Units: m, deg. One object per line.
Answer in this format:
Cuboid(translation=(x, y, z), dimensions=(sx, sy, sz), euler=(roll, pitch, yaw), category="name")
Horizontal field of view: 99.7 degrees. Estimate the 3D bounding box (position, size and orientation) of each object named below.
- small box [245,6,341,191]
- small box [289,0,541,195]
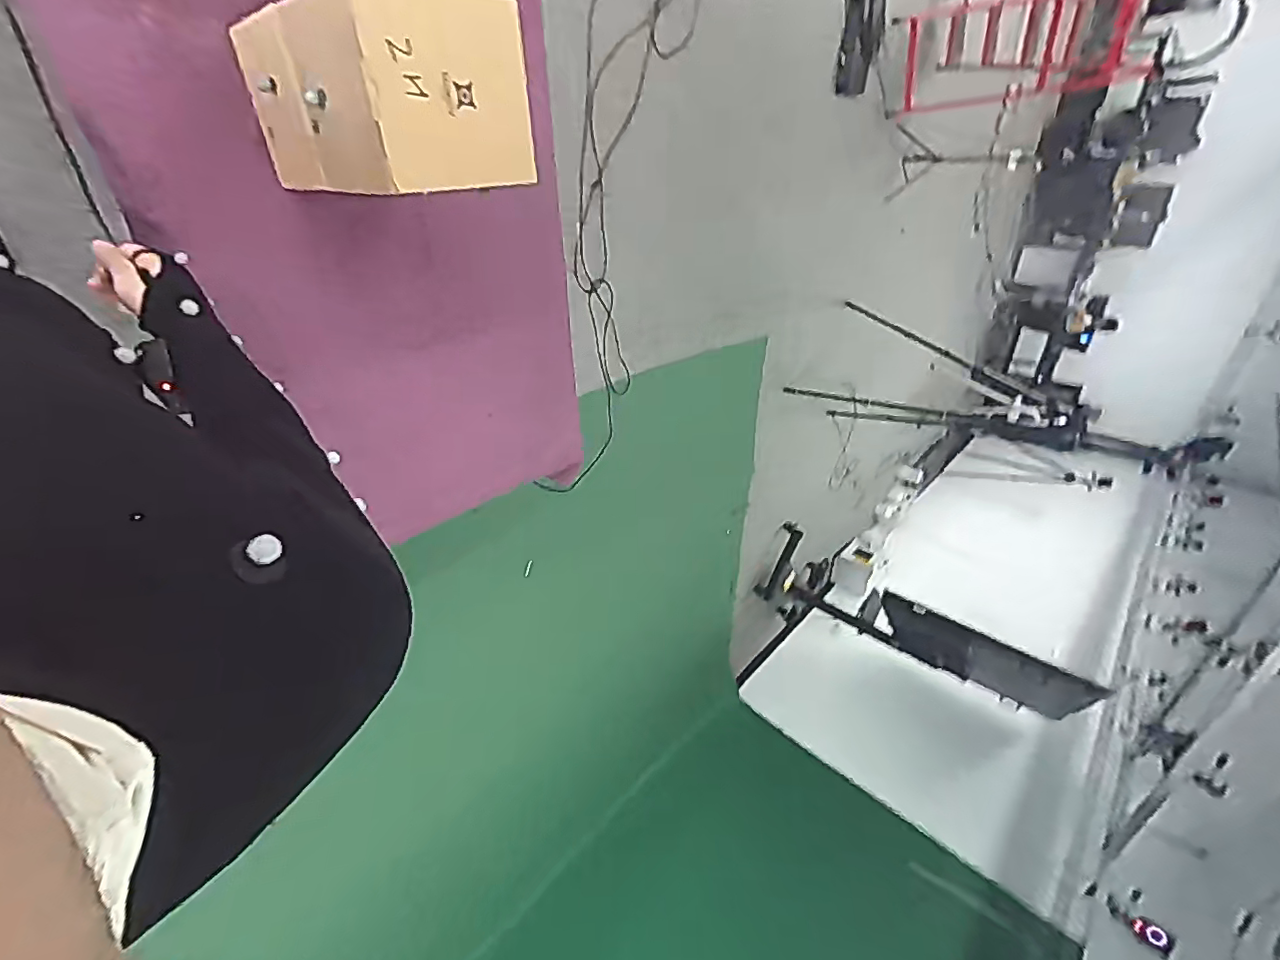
Cuboid(translation=(-0.358, -0.461, 0.678), dimensions=(0.179, 0.176, 0.168), euler=(-32, 132, -38), category="small box")
Cuboid(translation=(-0.235, -0.408, 0.584), dimensions=(0.179, 0.176, 0.168), euler=(-30, 131, -38), category="small box")
